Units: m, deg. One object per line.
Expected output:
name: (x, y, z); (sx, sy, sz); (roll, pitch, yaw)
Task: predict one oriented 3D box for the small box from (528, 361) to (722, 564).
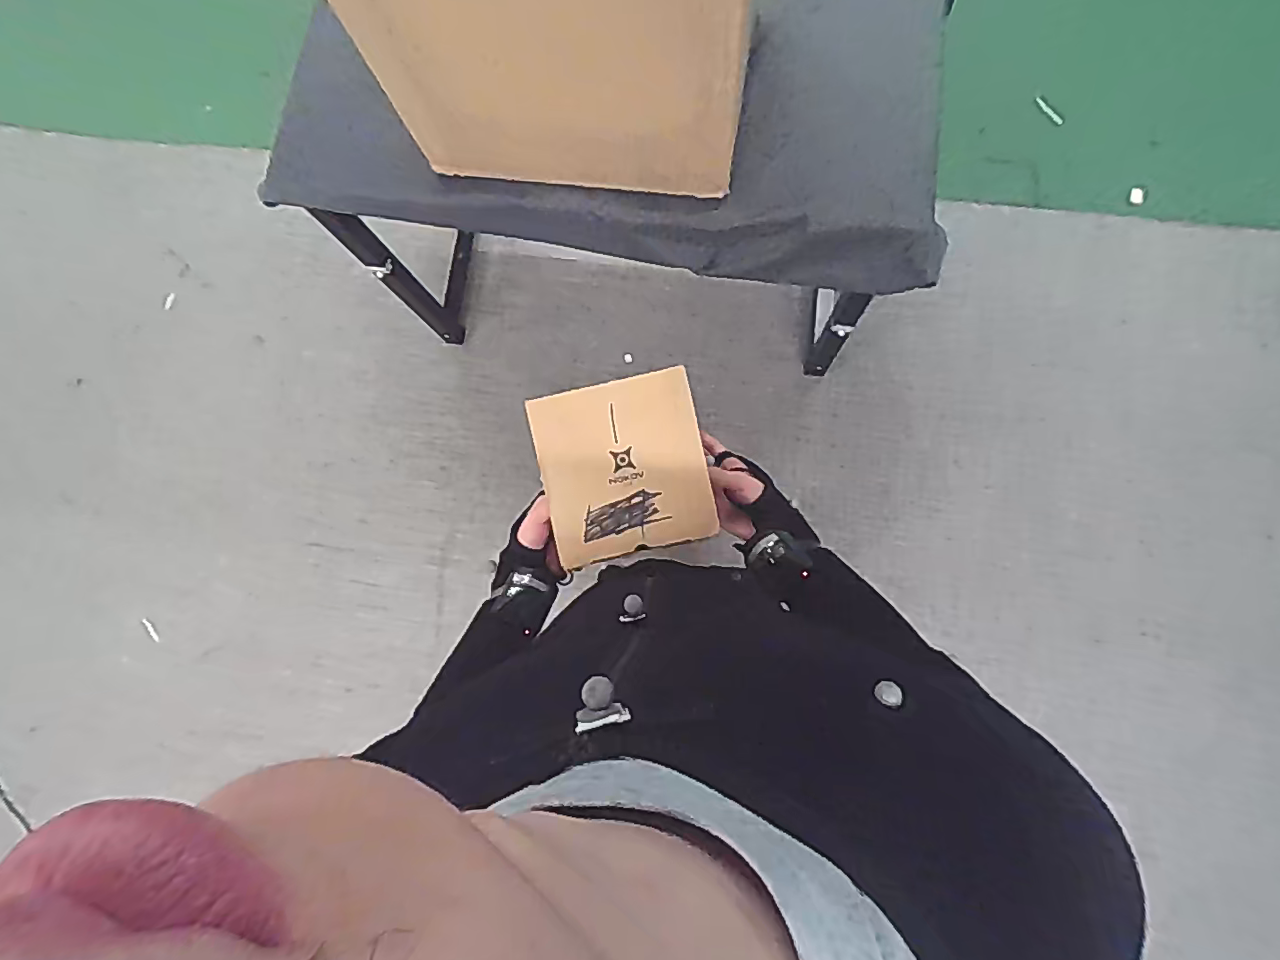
small box: (-0.012, -0.021, 0.616); (0.168, 0.176, 0.179); (-14, 92, 2)
